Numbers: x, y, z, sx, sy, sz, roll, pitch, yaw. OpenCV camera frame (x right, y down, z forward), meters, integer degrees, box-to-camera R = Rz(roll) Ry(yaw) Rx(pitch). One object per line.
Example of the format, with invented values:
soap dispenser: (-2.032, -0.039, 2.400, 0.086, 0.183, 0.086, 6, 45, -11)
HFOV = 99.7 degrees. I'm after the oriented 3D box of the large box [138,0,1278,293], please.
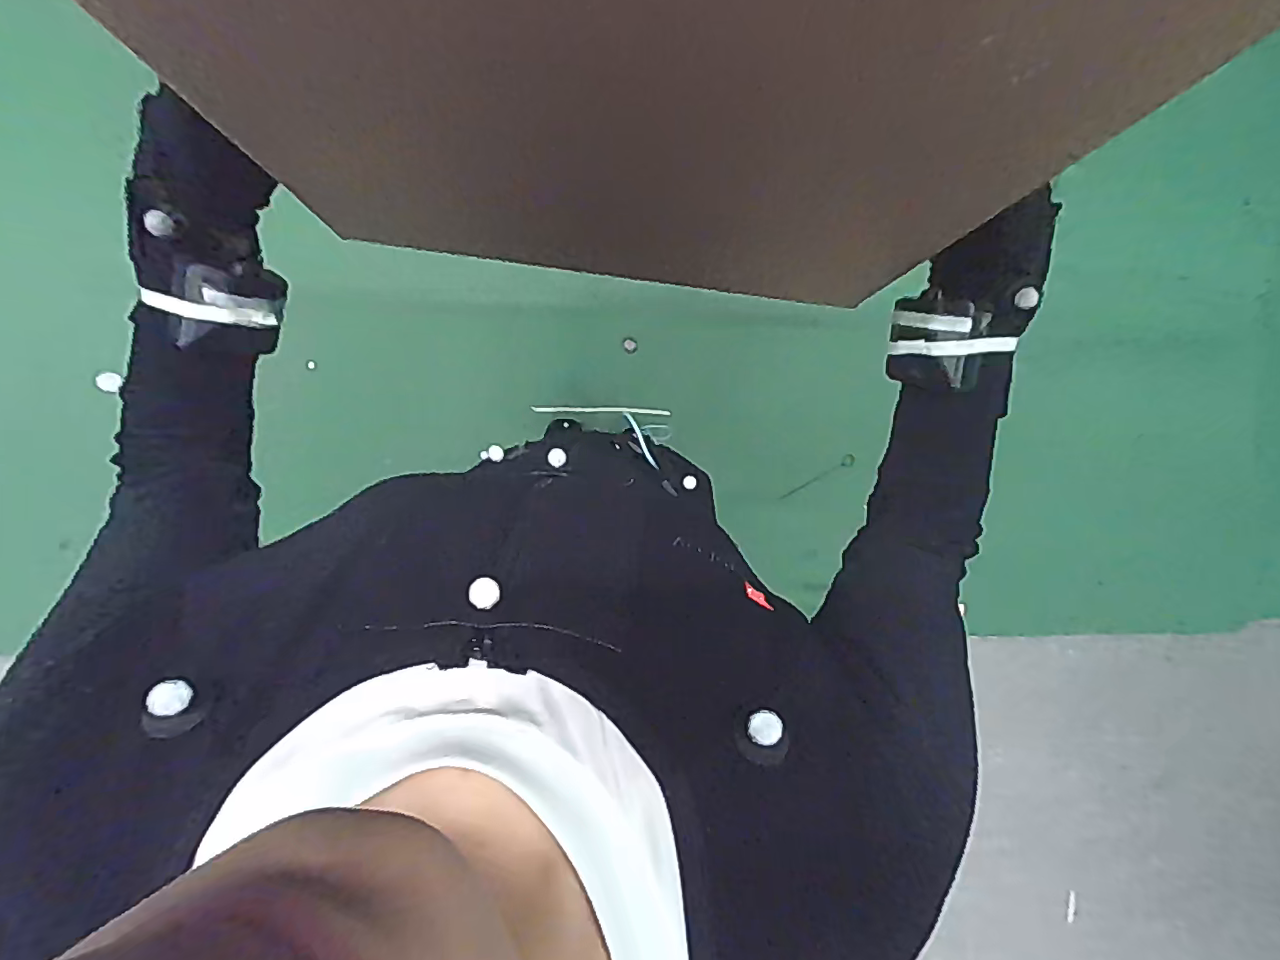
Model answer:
large box: (0.008, -0.315, 0.269, 0.408, 0.320, 0.320, 7, 91, -5)
